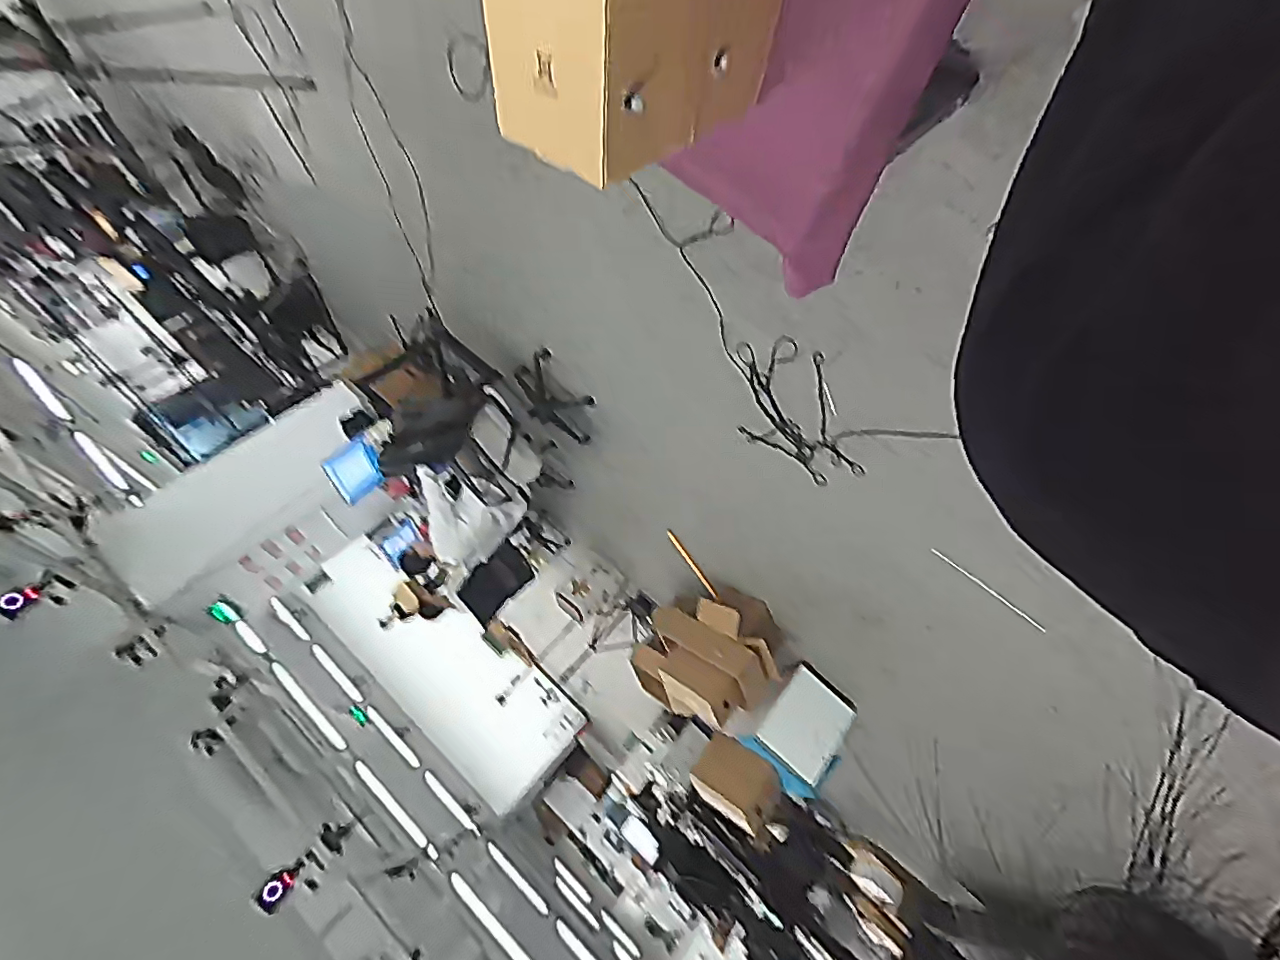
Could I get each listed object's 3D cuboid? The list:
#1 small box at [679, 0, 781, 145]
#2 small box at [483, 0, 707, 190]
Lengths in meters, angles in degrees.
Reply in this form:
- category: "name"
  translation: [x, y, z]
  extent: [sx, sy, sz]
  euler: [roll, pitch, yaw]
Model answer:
- category: "small box"
  translation: [0.056, -0.562, 0.667]
  extent: [0.168, 0.176, 0.179]
  euler: [37, 151, 16]
- category: "small box"
  translation: [-0.044, -0.463, 0.588]
  extent: [0.168, 0.176, 0.179]
  euler: [36, 152, 18]
